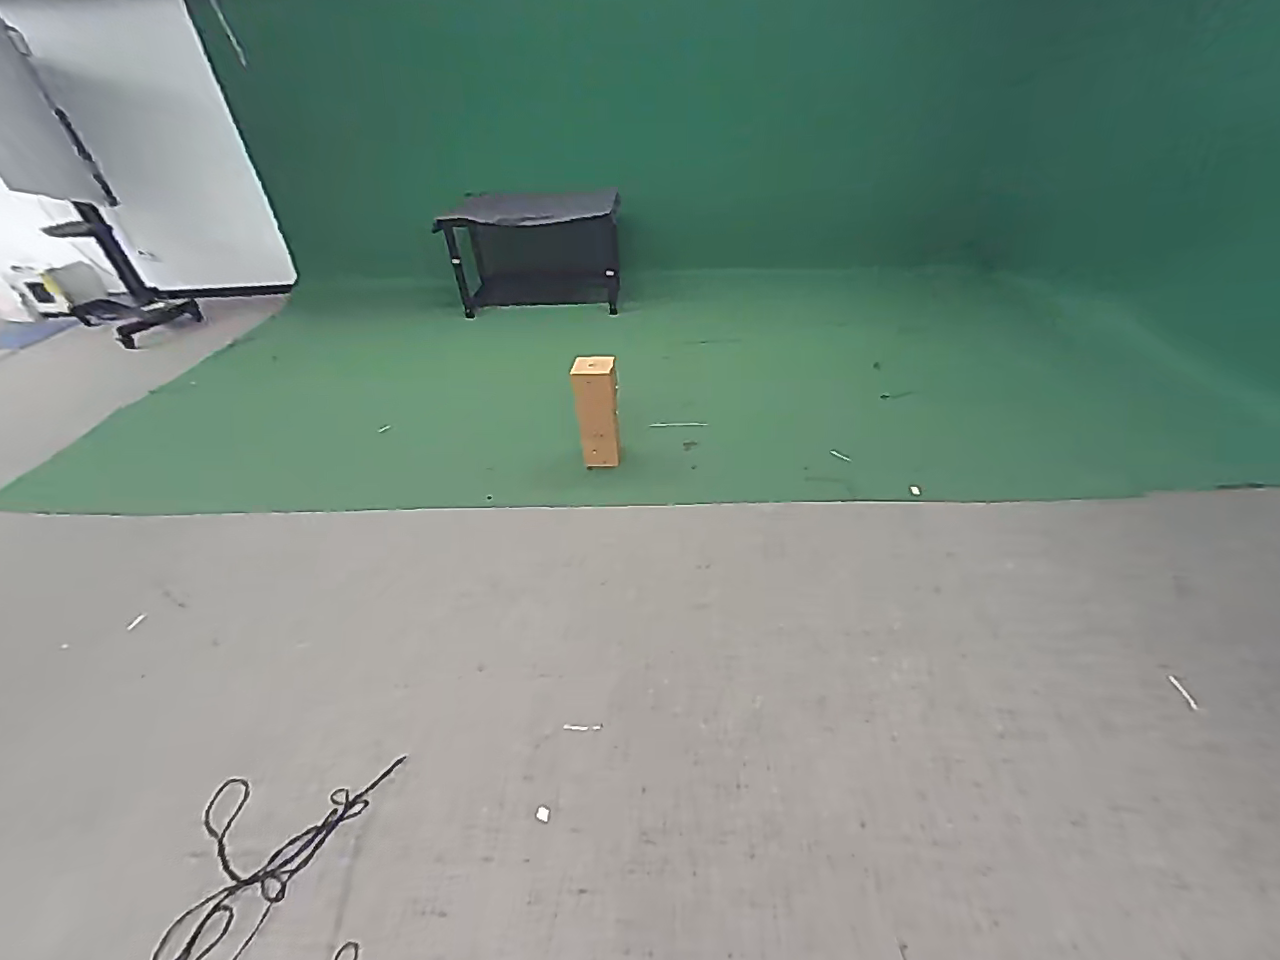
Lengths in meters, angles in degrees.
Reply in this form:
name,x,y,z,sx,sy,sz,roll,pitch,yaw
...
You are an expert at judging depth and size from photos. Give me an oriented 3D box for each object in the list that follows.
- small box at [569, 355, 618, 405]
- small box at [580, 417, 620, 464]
name,x,y,z,sx,sy,sz,roll,pitch,yaw
small box,-0.202,-0.443,2.398,0.179,0.176,0.168,1,39,7
small box,-0.186,-0.188,2.605,0.168,0.176,0.179,-1,37,4
